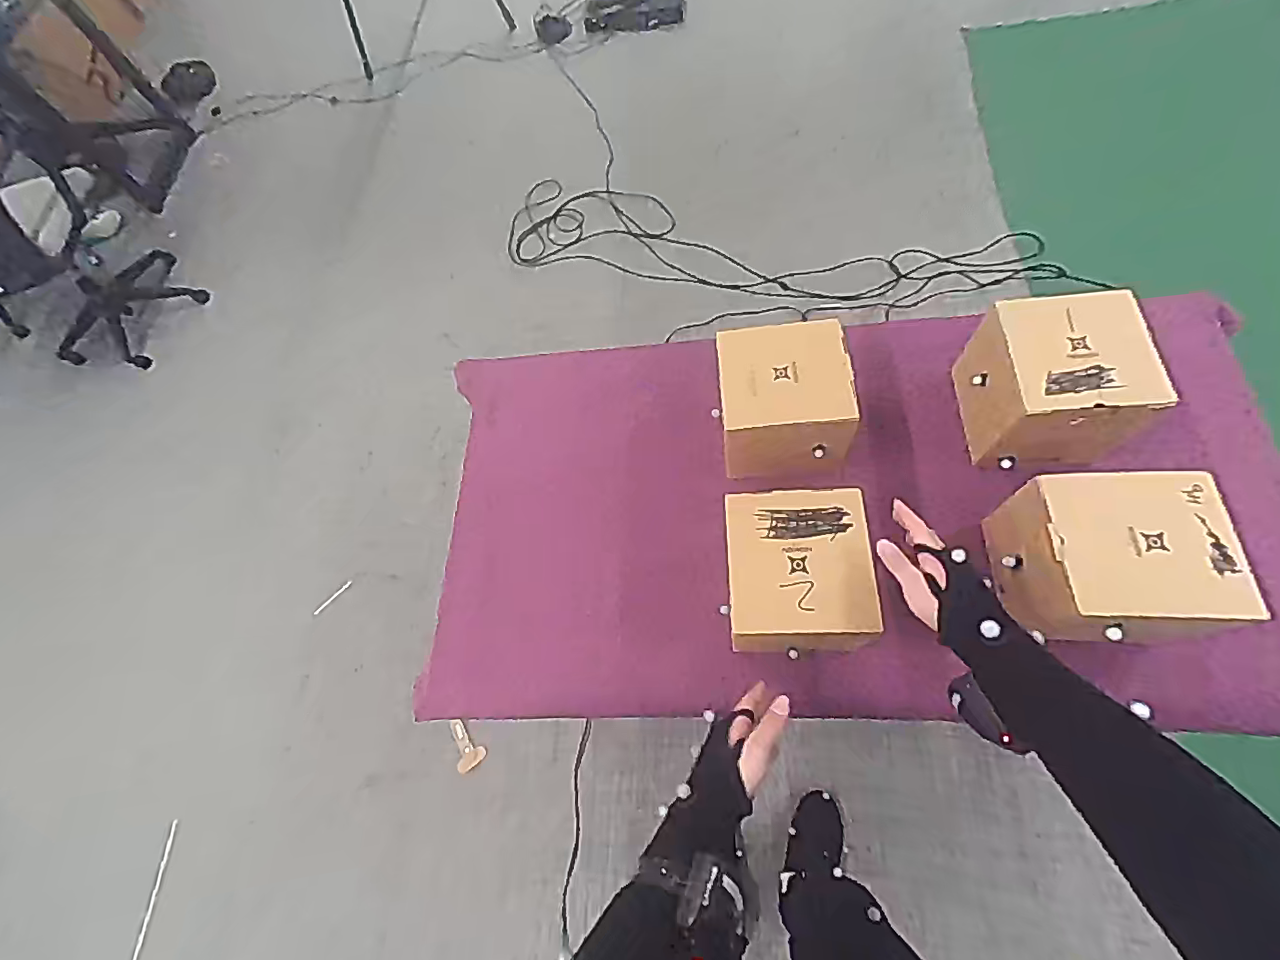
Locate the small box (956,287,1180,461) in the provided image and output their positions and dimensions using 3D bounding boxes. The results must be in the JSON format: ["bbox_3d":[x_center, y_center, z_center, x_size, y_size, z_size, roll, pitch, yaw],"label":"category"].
[{"bbox_3d":[0.561,-0.132,0.741,0.168,0.176,0.179,-2,66,10],"label":"small box"}]

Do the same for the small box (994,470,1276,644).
[{"bbox_3d":[0.551,0.098,0.641,0.179,0.176,0.168,-1,66,11],"label":"small box"}]

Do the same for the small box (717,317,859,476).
[{"bbox_3d":[0.208,-0.114,0.802,0.179,0.176,0.168,-4,66,10],"label":"small box"}]
